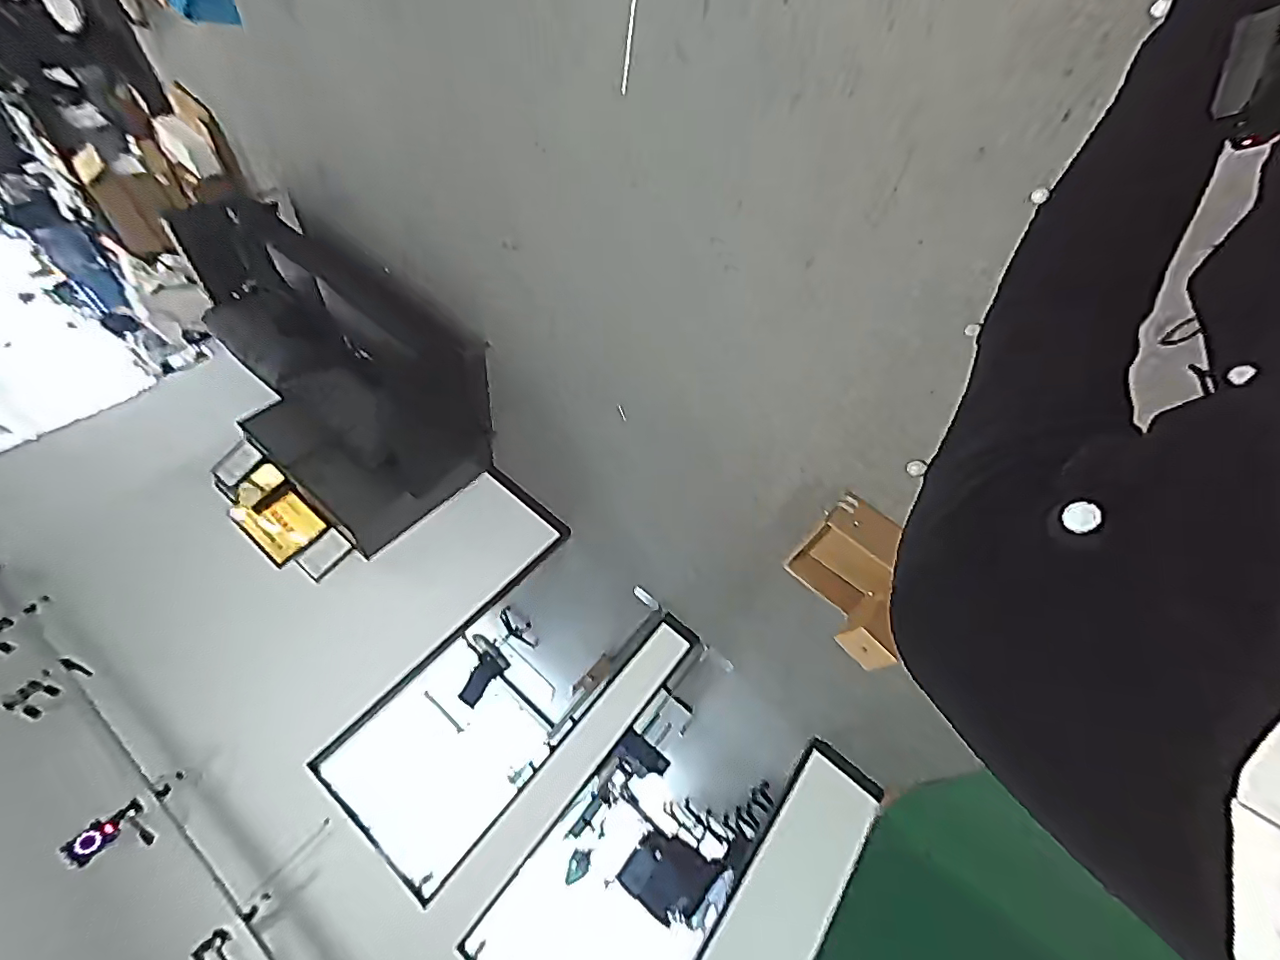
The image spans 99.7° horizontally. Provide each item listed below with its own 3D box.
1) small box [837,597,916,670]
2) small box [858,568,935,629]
[{"bbox_3d":[0.864,0.558,1.968,0.168,0.176,0.179,45,148,9],"label":"small box"},{"bbox_3d":[0.973,0.467,2.048,0.168,0.176,0.179,44,147,13],"label":"small box"}]
